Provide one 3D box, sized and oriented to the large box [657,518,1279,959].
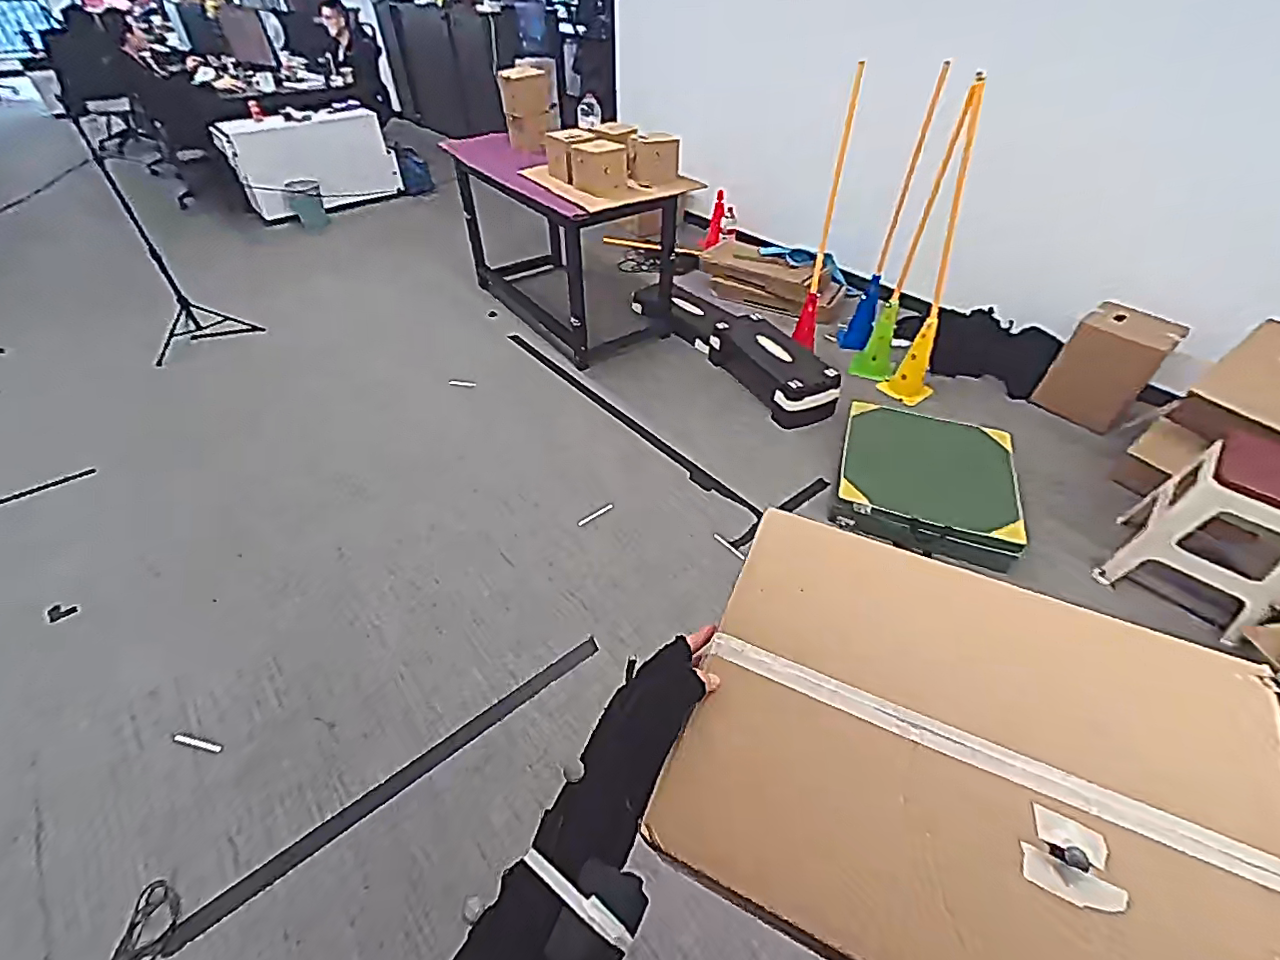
[{"bbox_3d":[0.262,0.296,0.541,0.408,0.320,0.320,19,57,19],"label":"large box"}]
